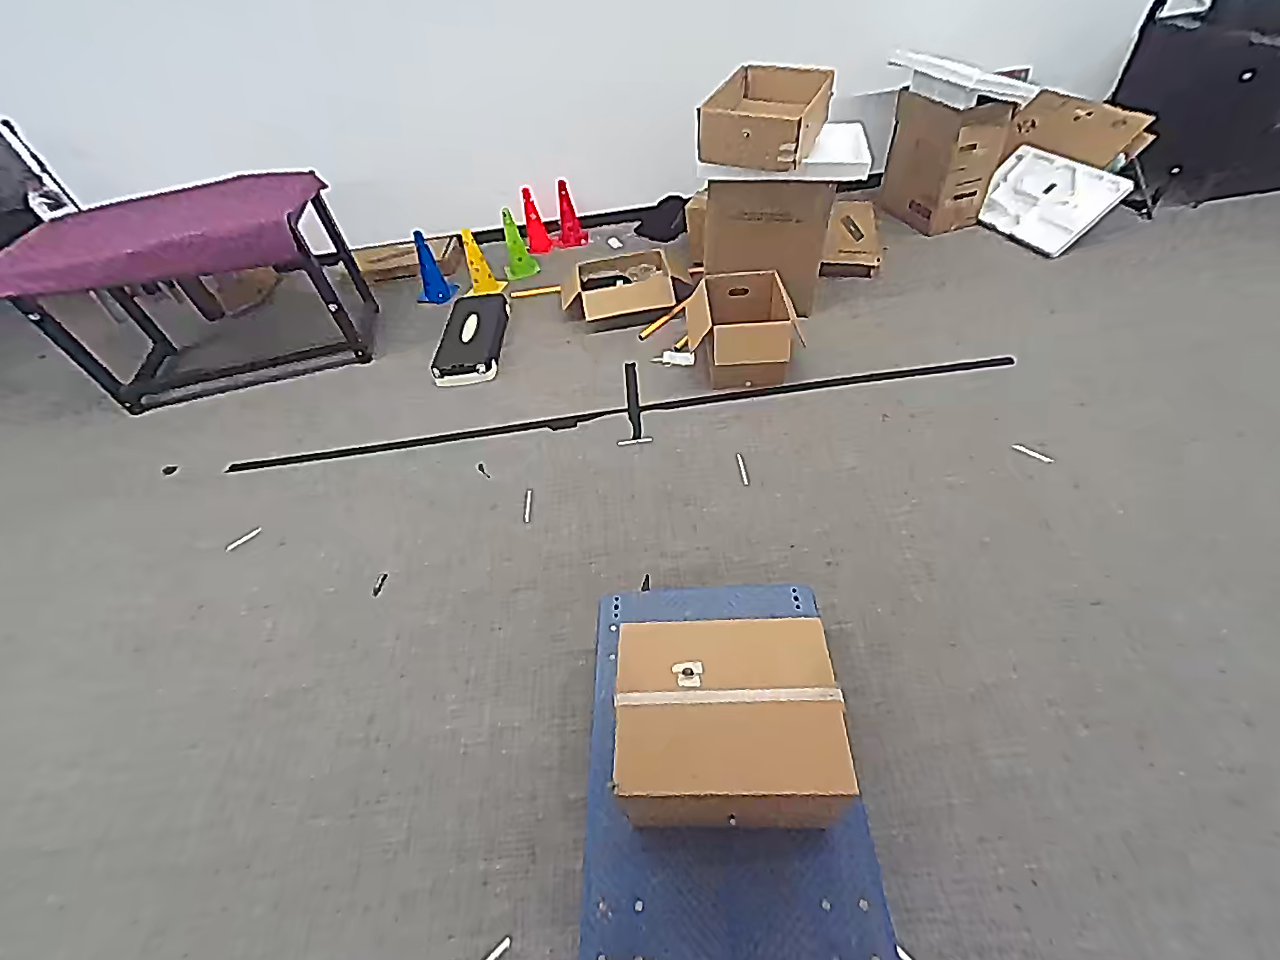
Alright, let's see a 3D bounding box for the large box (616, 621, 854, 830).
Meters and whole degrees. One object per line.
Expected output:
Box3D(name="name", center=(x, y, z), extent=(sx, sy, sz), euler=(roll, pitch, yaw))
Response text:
Box3D(name="large box", center=(0.174, 0.512, 1.110), extent=(0.408, 0.320, 0.320), euler=(-4, 47, 5))
